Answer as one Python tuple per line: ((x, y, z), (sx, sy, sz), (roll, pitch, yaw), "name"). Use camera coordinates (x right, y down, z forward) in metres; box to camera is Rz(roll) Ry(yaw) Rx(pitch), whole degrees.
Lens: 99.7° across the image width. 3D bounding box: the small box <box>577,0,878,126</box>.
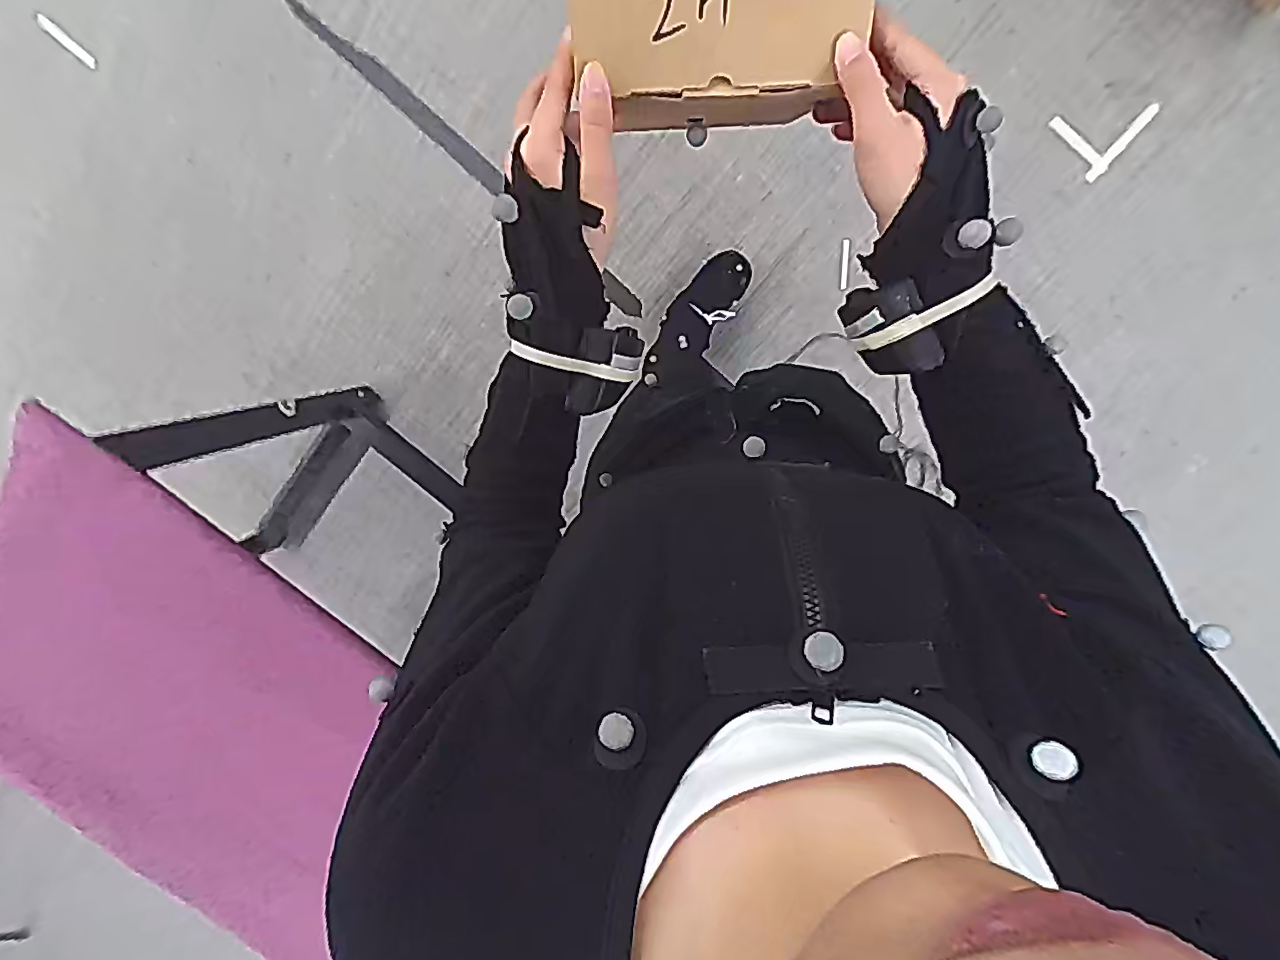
((0.044, -0.341, 0.340), (0.168, 0.176, 0.179), (-2, 116, 0), "small box")
